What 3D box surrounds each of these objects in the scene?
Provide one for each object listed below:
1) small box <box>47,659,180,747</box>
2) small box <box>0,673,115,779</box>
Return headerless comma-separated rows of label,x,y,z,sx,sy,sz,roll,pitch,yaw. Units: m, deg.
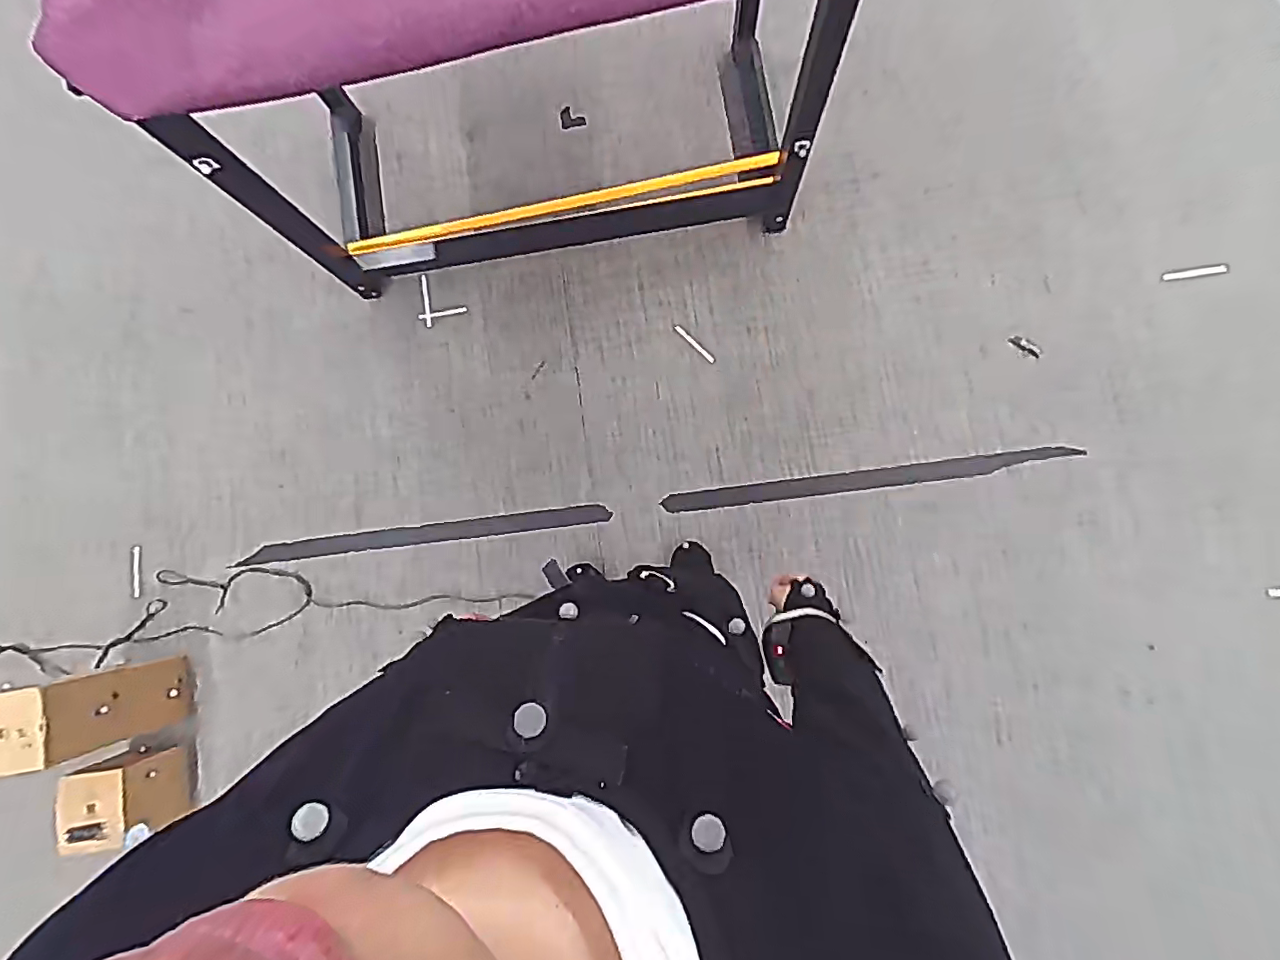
small box,-1.281,0.546,1.320,0.179,0.176,0.168,-8,83,1
small box,-1.290,0.525,1.157,0.179,0.176,0.168,-10,83,2
